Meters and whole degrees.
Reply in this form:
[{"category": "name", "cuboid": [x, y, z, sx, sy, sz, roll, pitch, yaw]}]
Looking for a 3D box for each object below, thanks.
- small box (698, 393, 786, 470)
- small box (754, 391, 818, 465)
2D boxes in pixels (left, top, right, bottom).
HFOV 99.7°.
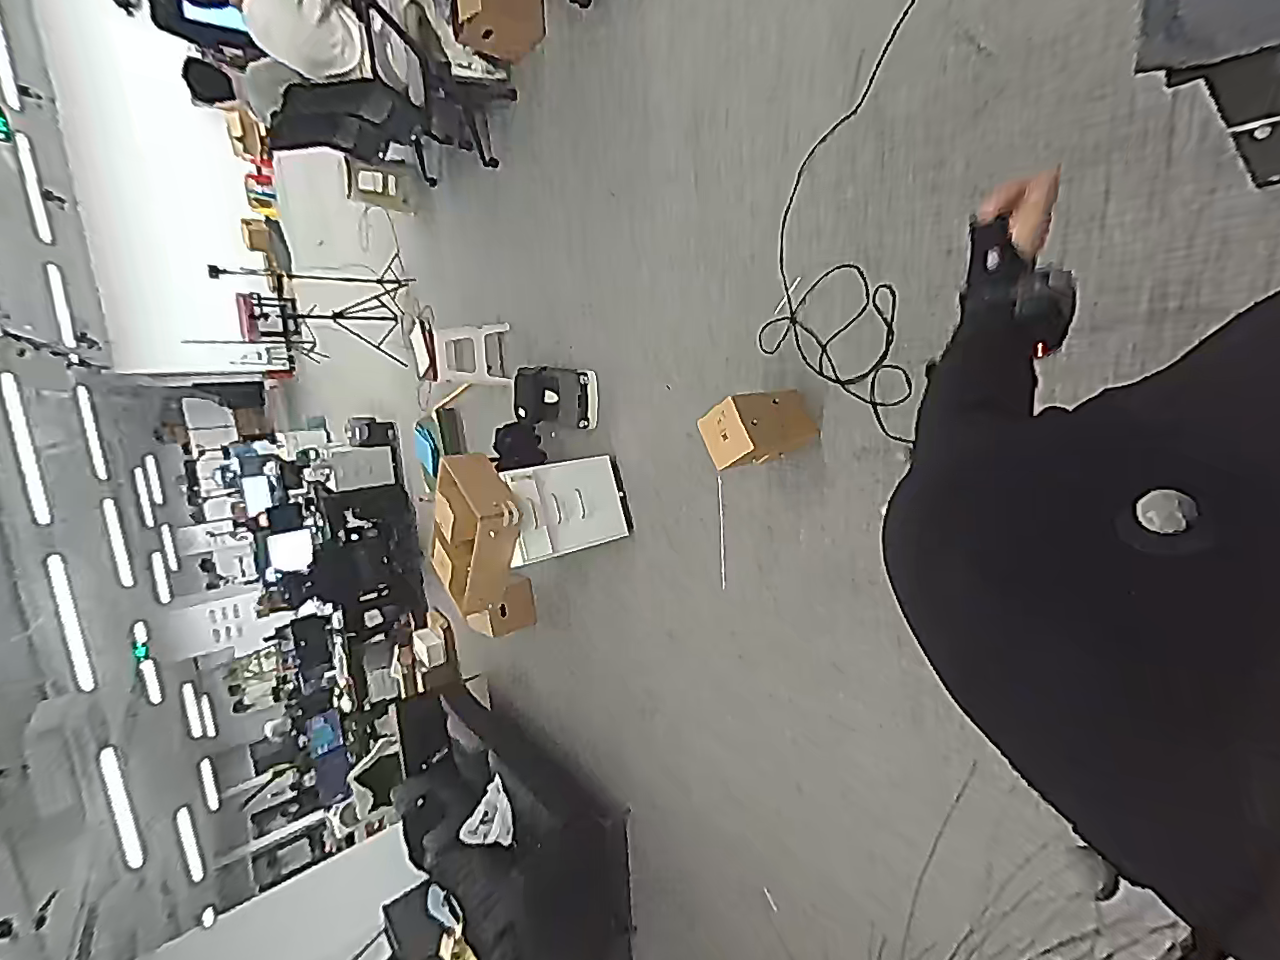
[{"category": "small box", "cuboid": [0.314, -0.150, 1.650, 0.168, 0.176, 0.179, -37, 71, 49]}, {"category": "small box", "cuboid": [0.440, -0.173, 1.753, 0.168, 0.176, 0.179, -44, 65, 47]}]
